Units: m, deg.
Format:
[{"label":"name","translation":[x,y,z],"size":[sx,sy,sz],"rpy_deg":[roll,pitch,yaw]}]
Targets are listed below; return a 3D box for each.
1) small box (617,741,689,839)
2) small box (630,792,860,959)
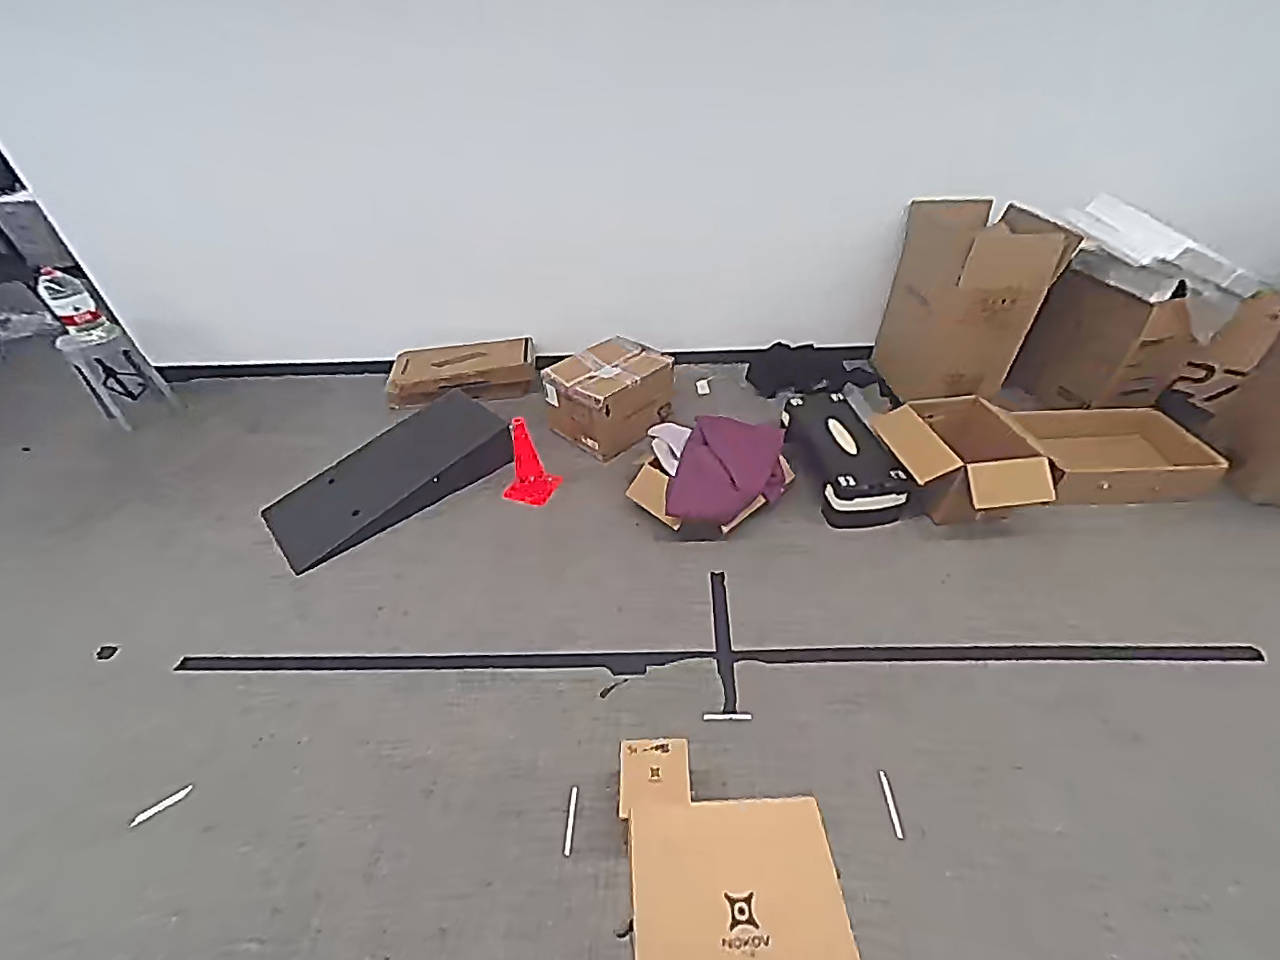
[{"label":"small box","translation":[0.037,0.762,1.320],"size":[0.168,0.176,0.179],"rpy_deg":[-2,41,2]},{"label":"small box","translation":[0.076,0.395,0.461],"size":[0.168,0.176,0.179],"rpy_deg":[-1,39,-3]}]
